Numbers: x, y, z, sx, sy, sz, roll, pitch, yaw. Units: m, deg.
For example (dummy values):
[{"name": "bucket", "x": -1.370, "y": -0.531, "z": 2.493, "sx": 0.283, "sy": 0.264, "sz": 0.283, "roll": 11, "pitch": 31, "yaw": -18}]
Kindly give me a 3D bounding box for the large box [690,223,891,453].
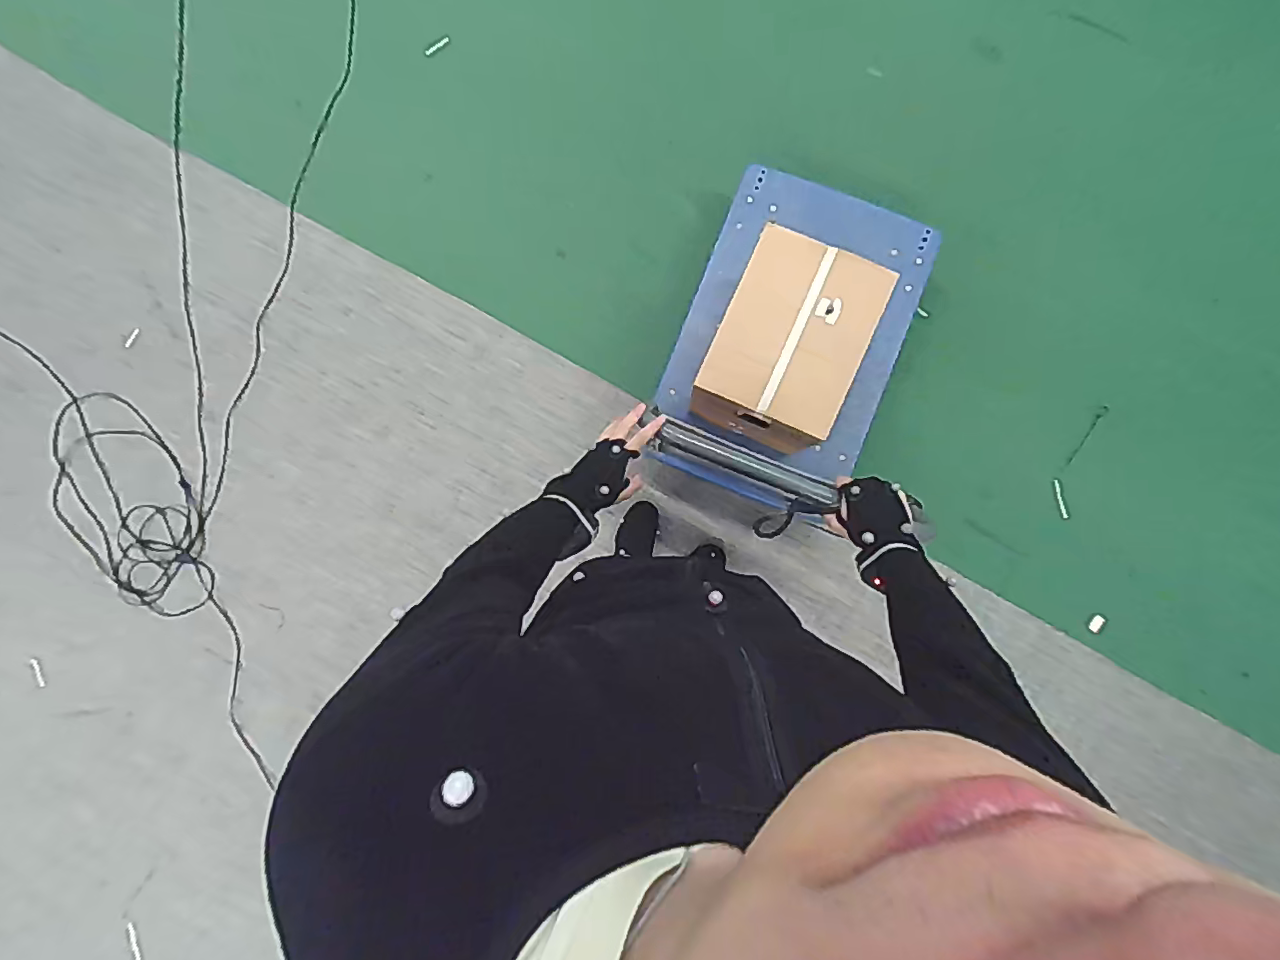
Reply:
[{"name": "large box", "x": 0.340, "y": -0.320, "z": 1.328, "sx": 0.320, "sy": 0.320, "sz": 0.408, "roll": 24, "pitch": 88, "yaw": 3}]
